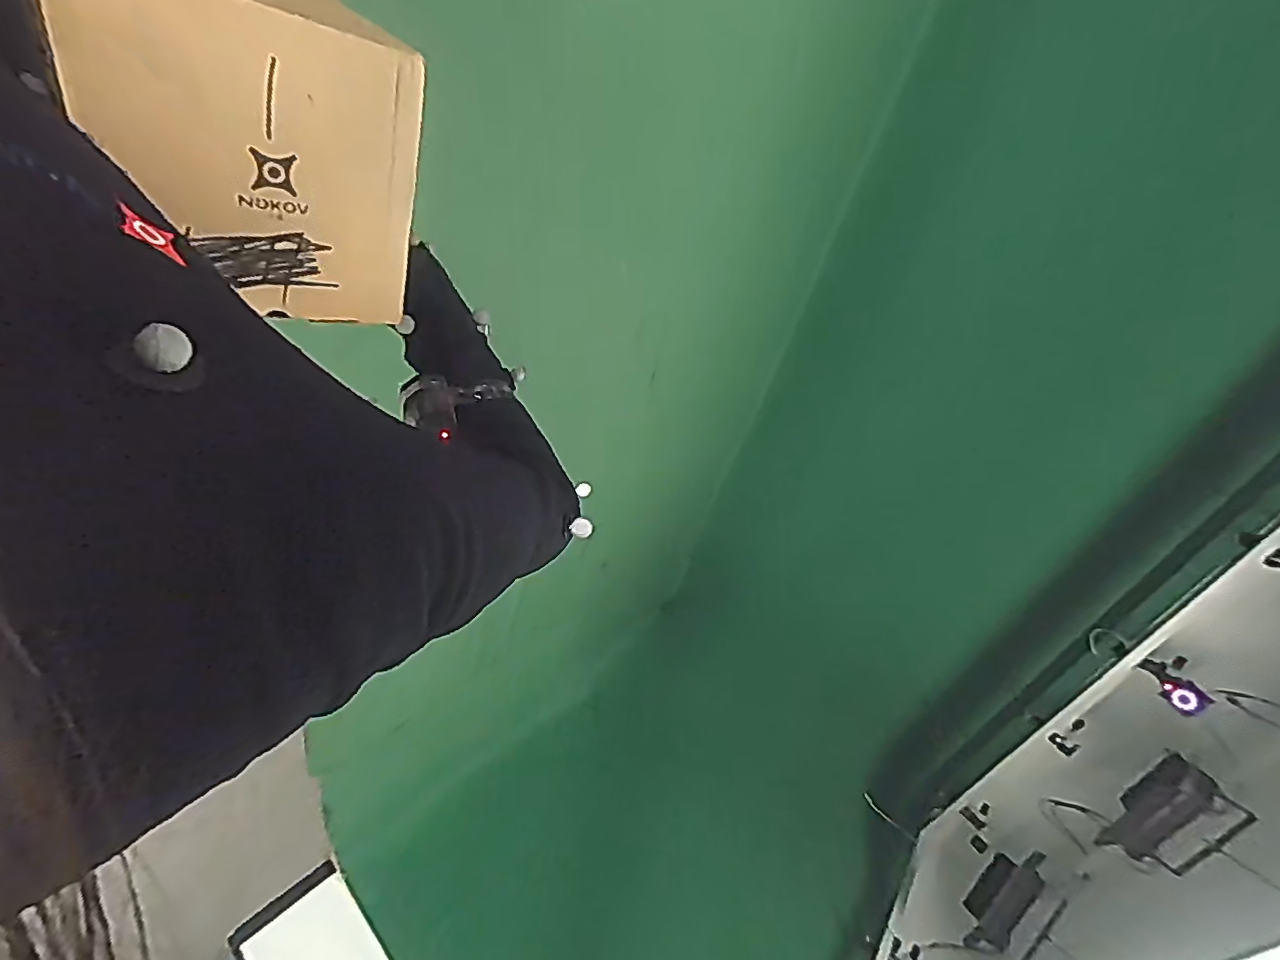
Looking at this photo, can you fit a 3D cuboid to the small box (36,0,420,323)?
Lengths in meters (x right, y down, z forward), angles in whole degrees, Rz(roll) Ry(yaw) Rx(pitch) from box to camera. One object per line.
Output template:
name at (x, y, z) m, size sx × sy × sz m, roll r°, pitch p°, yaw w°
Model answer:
small box at (-0.270, -0.227, 0.361) m, size 0.168 × 0.176 × 0.179 m, roll -13°, pitch 139°, yaw -43°
